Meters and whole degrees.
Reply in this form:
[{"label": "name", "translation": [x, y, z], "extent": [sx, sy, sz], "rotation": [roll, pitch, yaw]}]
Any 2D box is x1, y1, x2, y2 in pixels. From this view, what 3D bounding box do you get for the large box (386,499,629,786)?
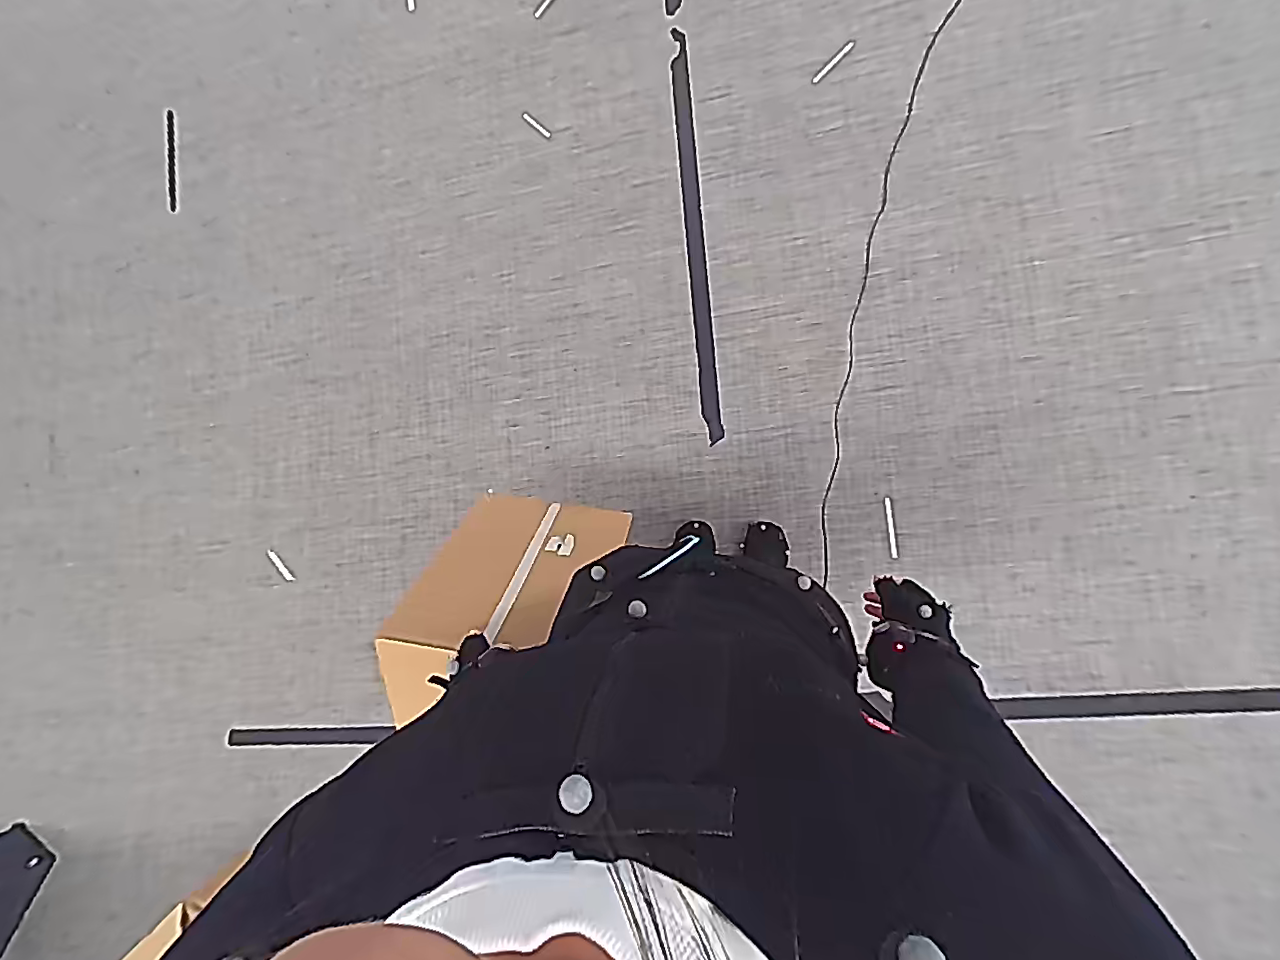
[{"label": "large box", "translation": [-0.208, 0.281, 1.019], "extent": [0.320, 0.408, 0.320], "rotation": [8, 120, 6]}]
